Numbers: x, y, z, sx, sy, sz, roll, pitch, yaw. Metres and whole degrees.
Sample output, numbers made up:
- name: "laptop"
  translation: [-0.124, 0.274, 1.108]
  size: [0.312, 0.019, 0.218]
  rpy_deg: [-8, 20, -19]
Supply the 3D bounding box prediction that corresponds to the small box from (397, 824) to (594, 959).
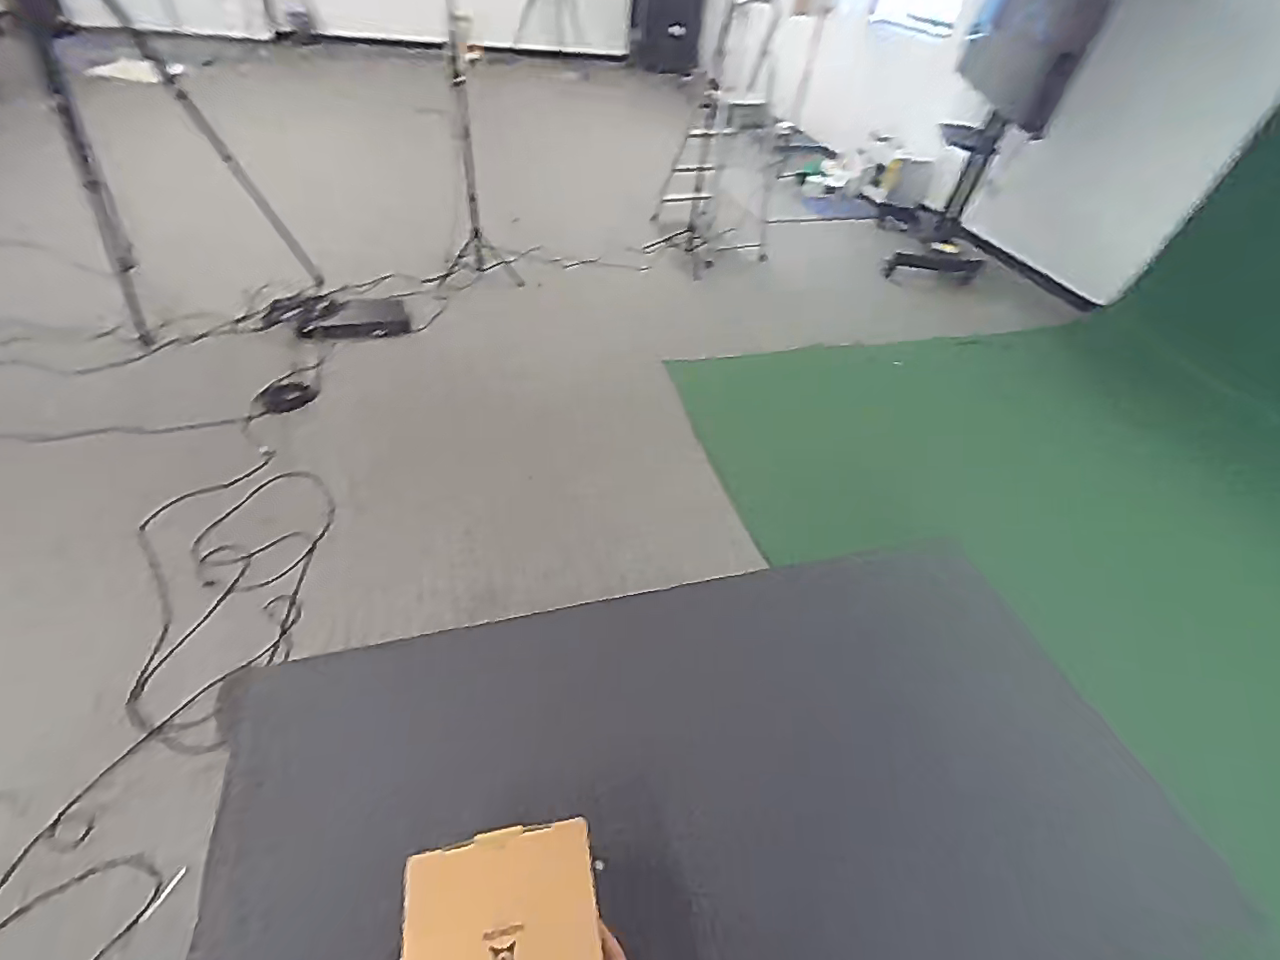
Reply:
- name: "small box"
  translation: [-0.129, 0.462, 0.516]
  size: [0.168, 0.176, 0.179]
  rpy_deg: [-5, 46, -13]
